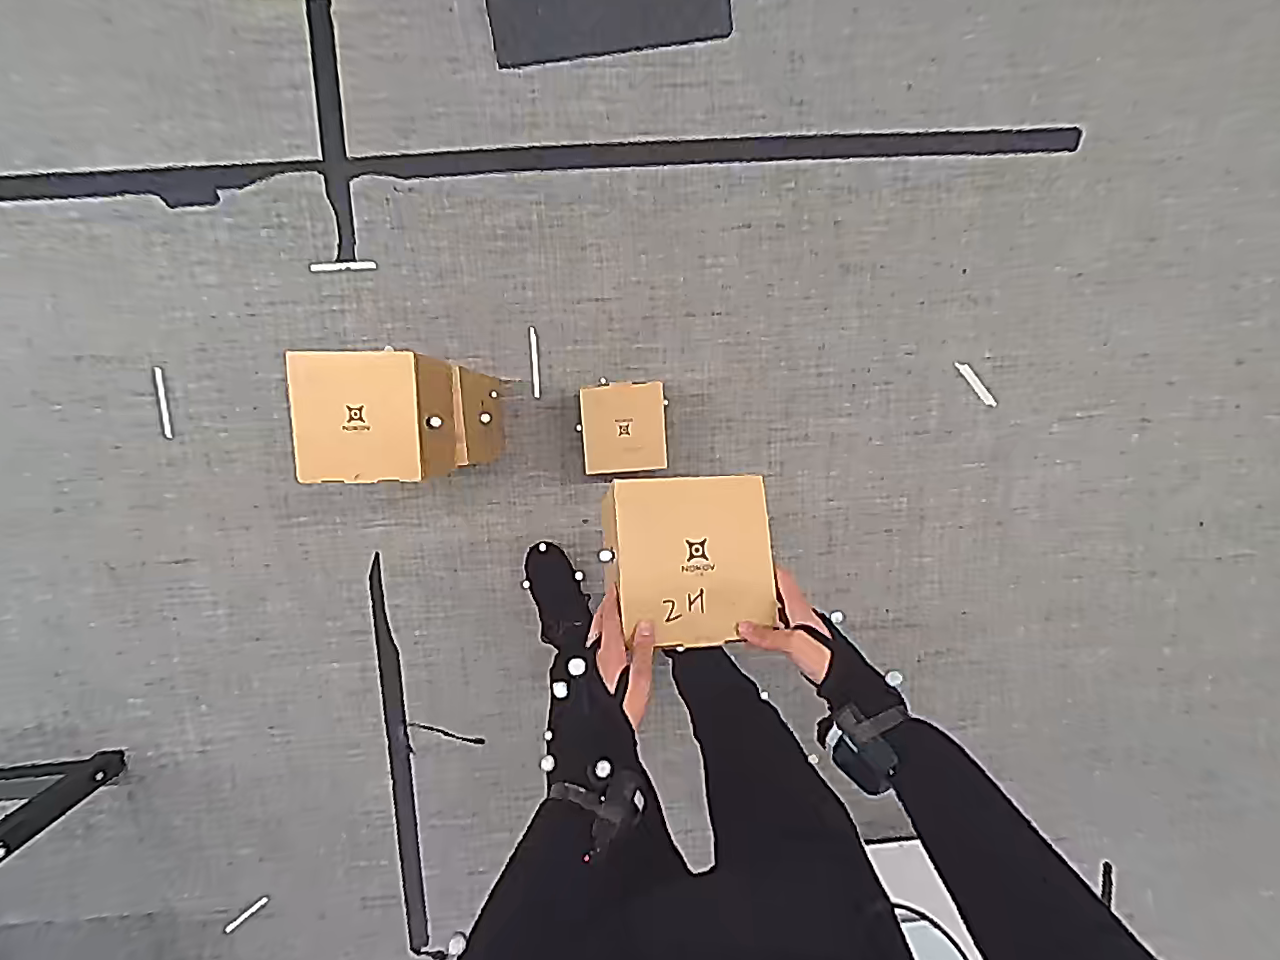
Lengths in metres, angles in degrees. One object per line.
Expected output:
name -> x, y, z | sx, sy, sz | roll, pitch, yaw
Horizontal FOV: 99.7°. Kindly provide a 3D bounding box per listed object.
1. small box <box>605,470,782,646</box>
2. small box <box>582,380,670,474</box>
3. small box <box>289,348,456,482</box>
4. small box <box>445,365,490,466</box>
small box -> 0.049, 0.093, 0.635 | 0.168, 0.176, 0.179 | -3, 79, -8
small box -> -0.030, -0.114, 1.137 | 0.168, 0.176, 0.179 | -5, 99, -1
small box -> -0.377, -0.094, 0.791 | 0.168, 0.176, 0.179 | -1, 98, -3
small box -> -0.375, -0.110, 0.953 | 0.179, 0.176, 0.168 | -3, 98, -3
